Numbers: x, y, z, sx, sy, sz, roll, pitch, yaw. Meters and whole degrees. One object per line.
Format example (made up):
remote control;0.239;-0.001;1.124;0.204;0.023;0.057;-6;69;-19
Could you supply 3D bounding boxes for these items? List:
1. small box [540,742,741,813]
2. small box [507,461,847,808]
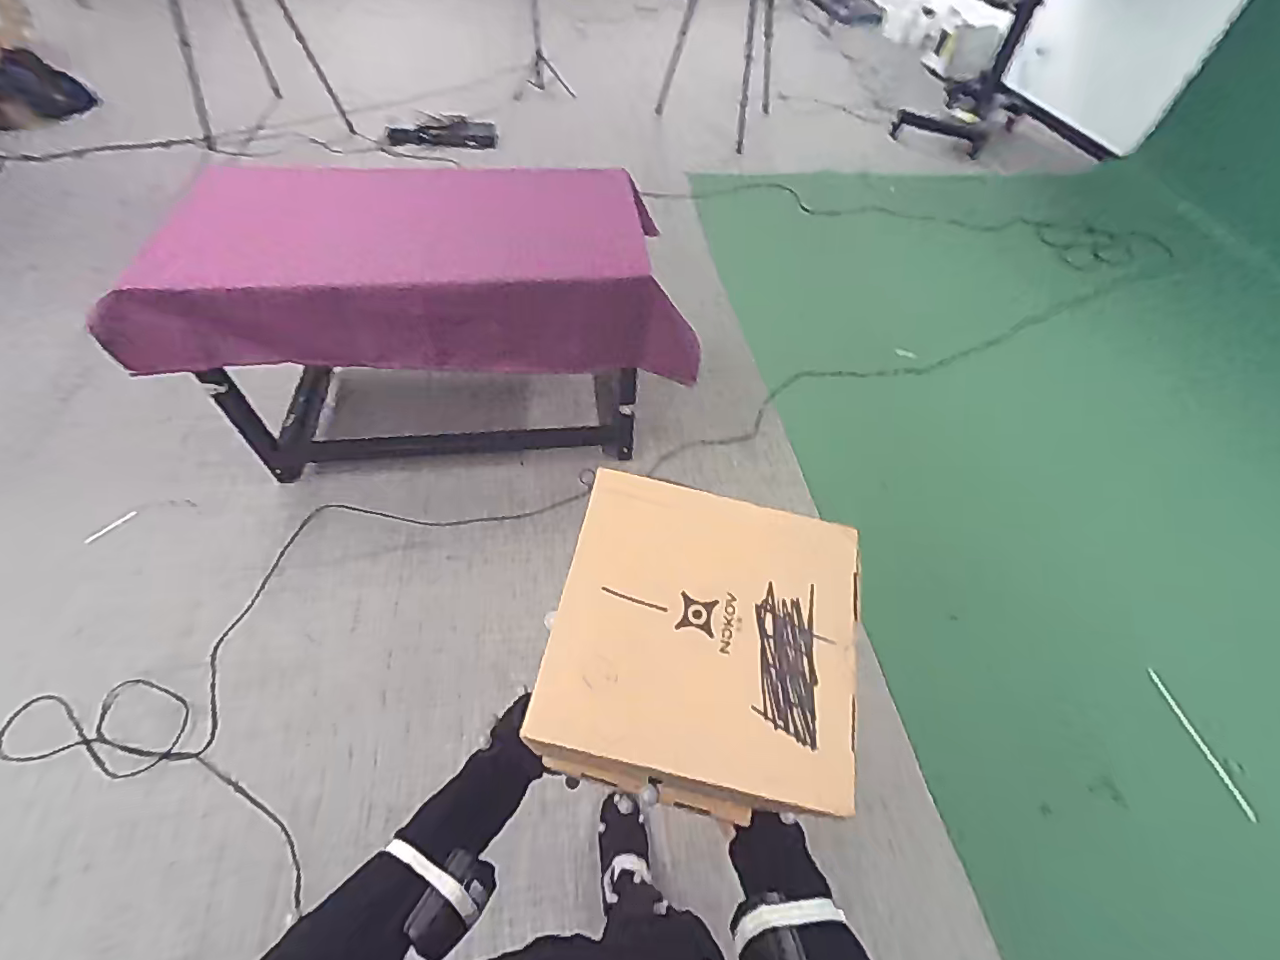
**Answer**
small box;0.010;0.198;0.524;0.168;0.176;0.179;16;60;2
small box;0.024;0.114;0.383;0.179;0.176;0.168;14;60;1
